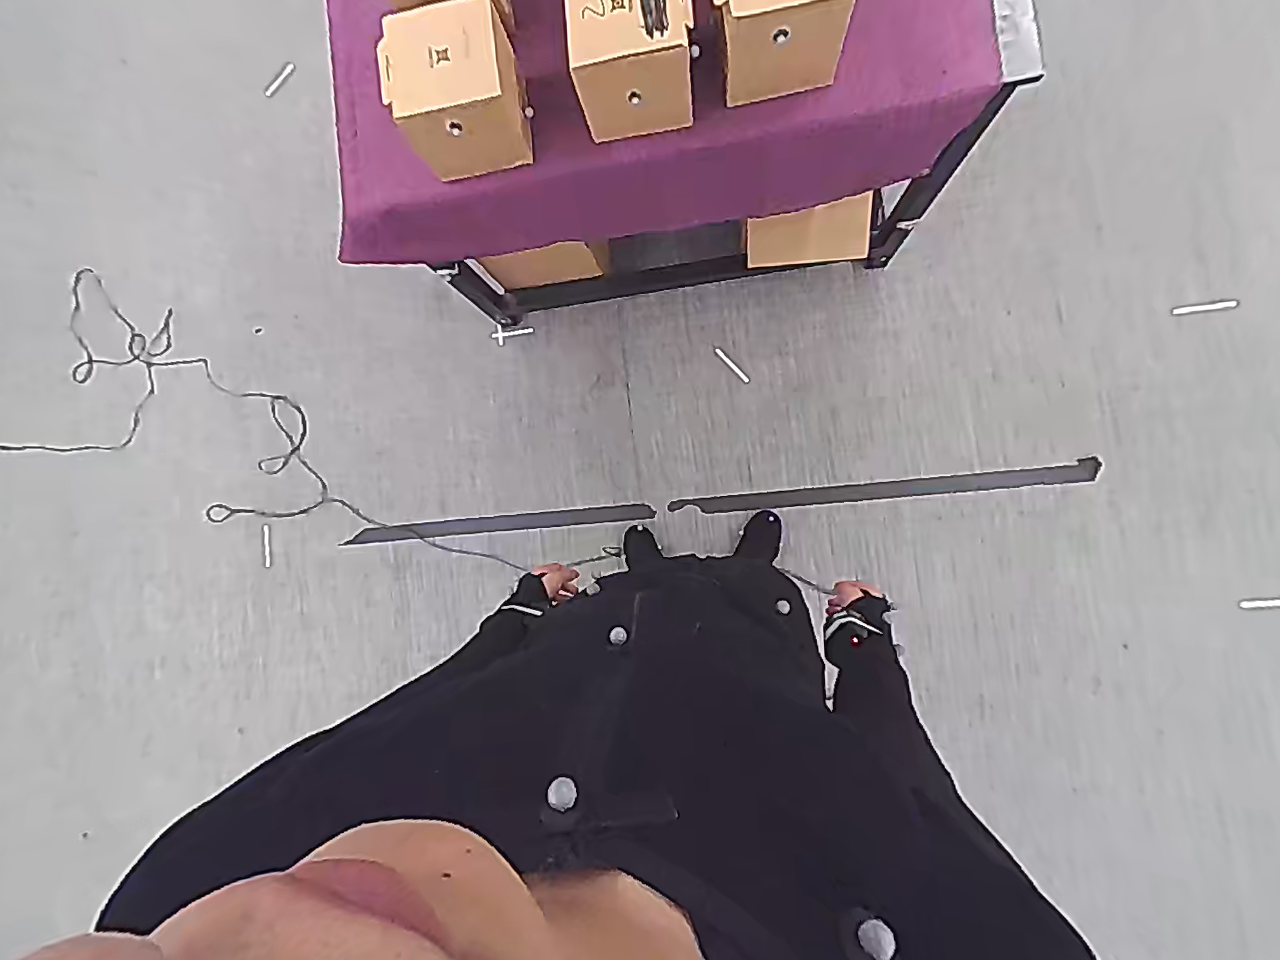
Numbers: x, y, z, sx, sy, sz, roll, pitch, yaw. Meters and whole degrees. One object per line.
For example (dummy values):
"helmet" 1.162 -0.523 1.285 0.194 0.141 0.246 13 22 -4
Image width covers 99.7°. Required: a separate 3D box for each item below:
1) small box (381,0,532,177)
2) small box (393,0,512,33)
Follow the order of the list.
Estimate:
"small box" -0.294 -0.633 0.892 0.179 0.176 0.168 -7 87 6
"small box" -0.335 -0.870 0.905 0.179 0.176 0.168 -9 87 7
